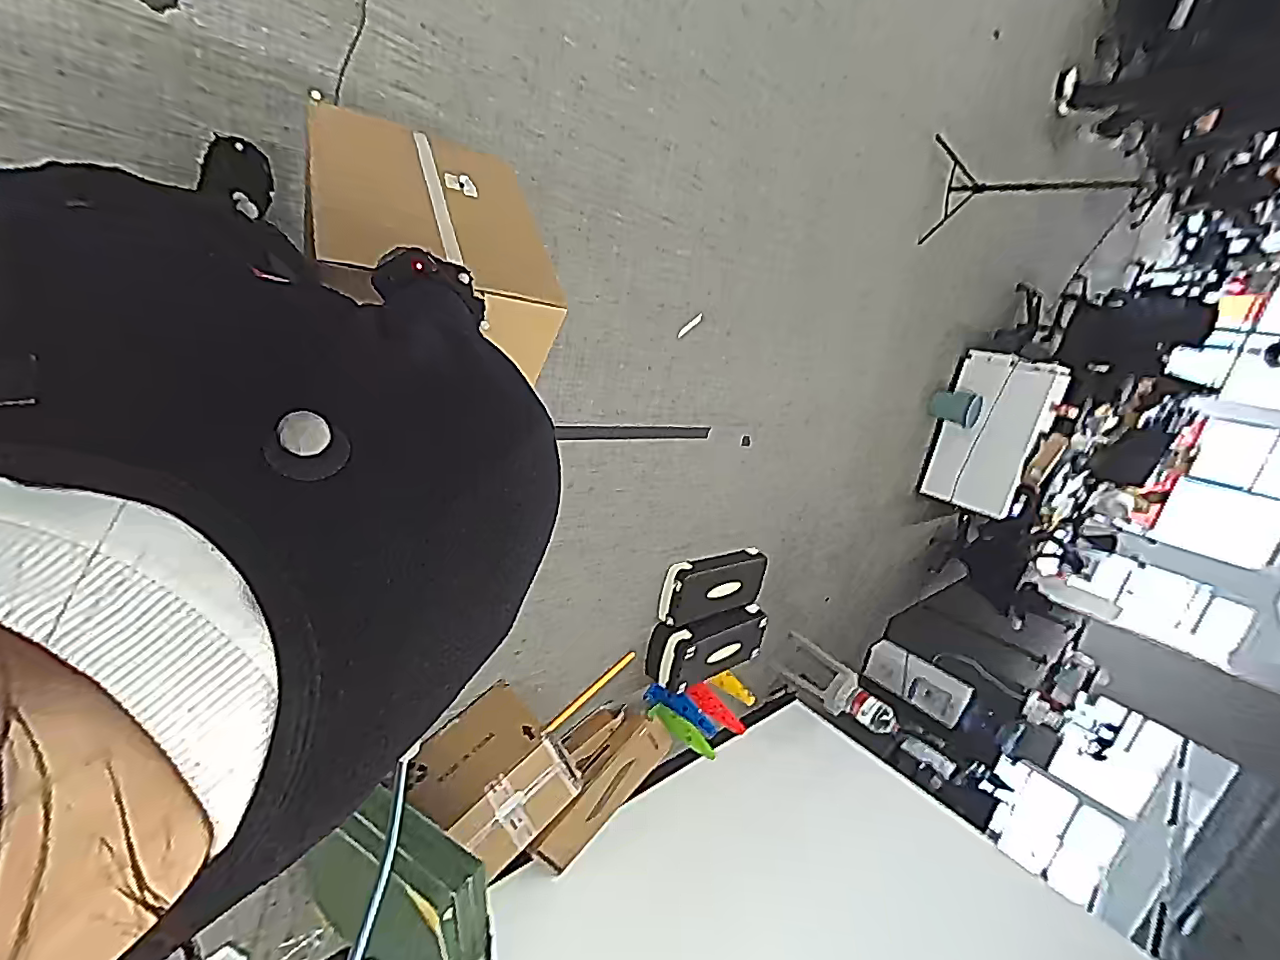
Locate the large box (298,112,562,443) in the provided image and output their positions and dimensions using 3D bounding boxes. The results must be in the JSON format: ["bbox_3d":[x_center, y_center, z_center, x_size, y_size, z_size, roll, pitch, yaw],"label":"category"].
[{"bbox_3d":[-0.375,-0.309,0.899,0.320,0.408,0.320,0,142,-36],"label":"large box"}]
